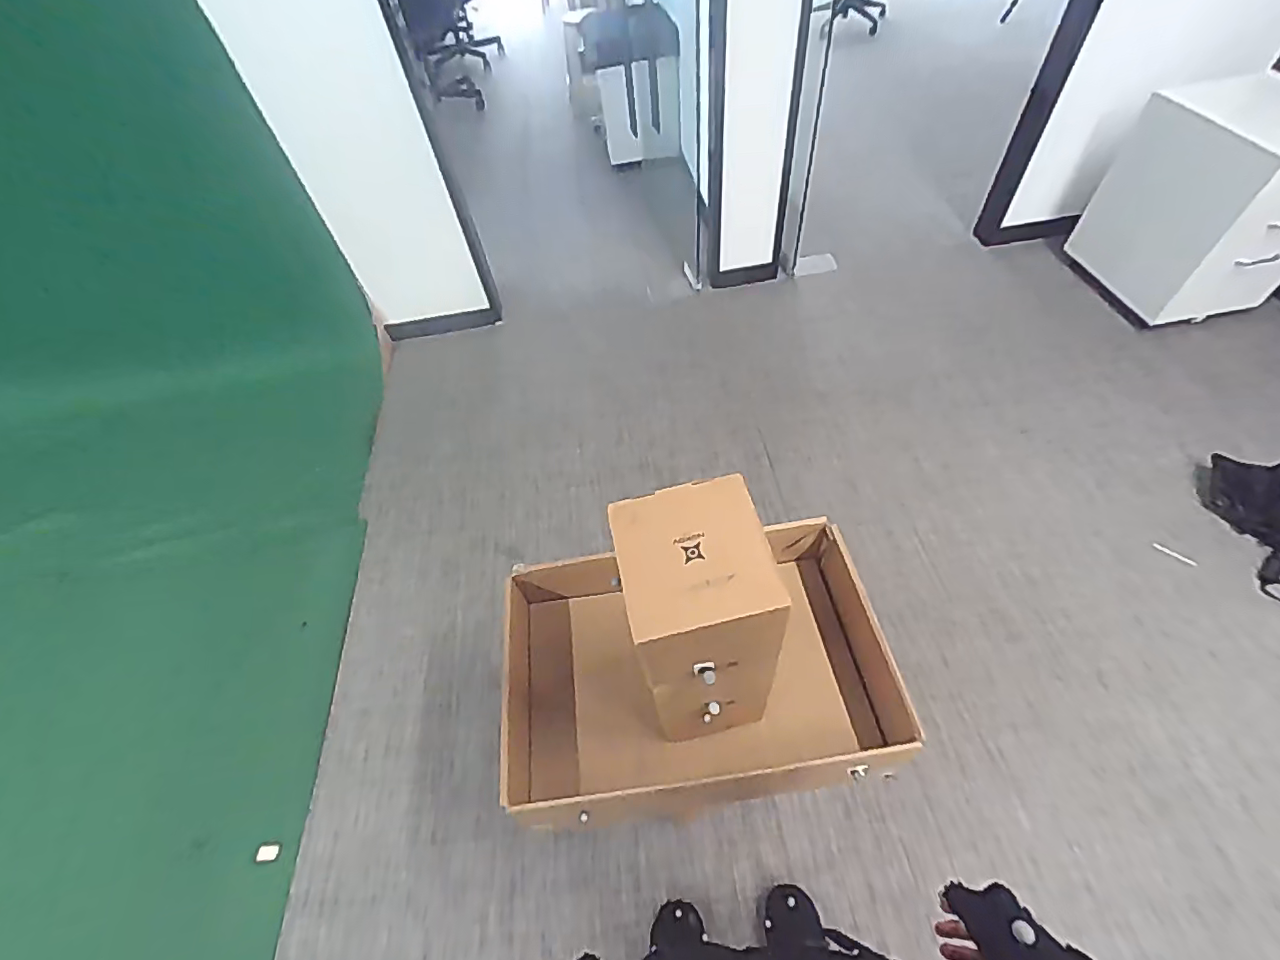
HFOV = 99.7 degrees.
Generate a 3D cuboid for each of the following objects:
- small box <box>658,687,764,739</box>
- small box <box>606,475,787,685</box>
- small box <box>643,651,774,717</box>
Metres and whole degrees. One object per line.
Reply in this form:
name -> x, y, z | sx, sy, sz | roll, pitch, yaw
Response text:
small box -> 0.101, 0.314, 0.919 | 0.168, 0.176, 0.179 | -14, 52, -1
small box -> 0.063, 0.125, 0.658 | 0.168, 0.176, 0.179 | -14, 54, -1
small box -> 0.081, 0.220, 0.786 | 0.168, 0.176, 0.179 | -13, 53, -2
